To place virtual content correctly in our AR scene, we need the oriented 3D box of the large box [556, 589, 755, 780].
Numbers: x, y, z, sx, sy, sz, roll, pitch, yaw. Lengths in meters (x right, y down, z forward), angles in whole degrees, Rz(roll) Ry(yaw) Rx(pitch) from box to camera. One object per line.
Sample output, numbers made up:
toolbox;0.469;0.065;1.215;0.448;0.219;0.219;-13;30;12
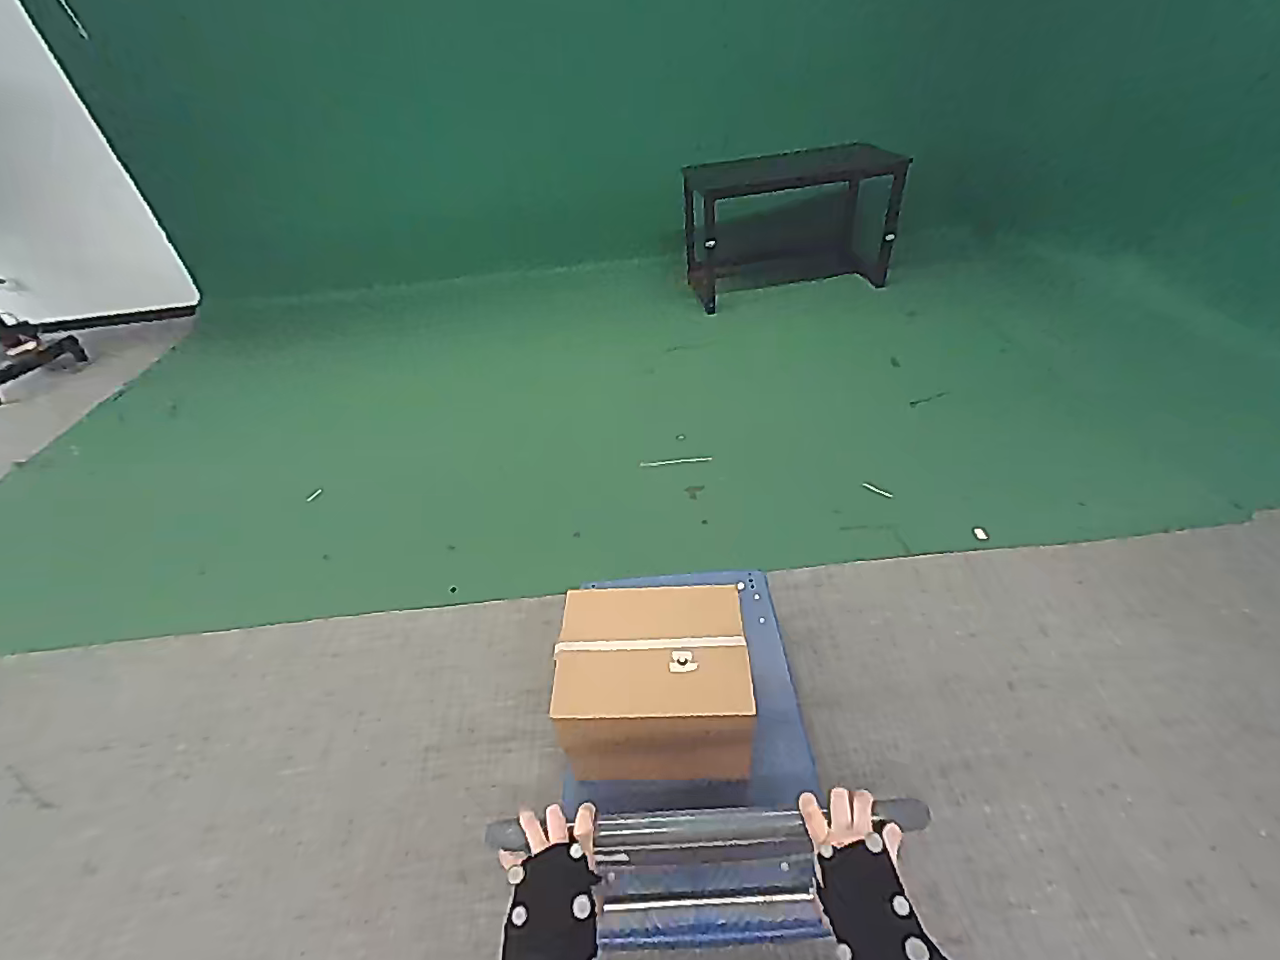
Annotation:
large box;0.038;0.481;1.274;0.408;0.320;0.320;-2;40;3
